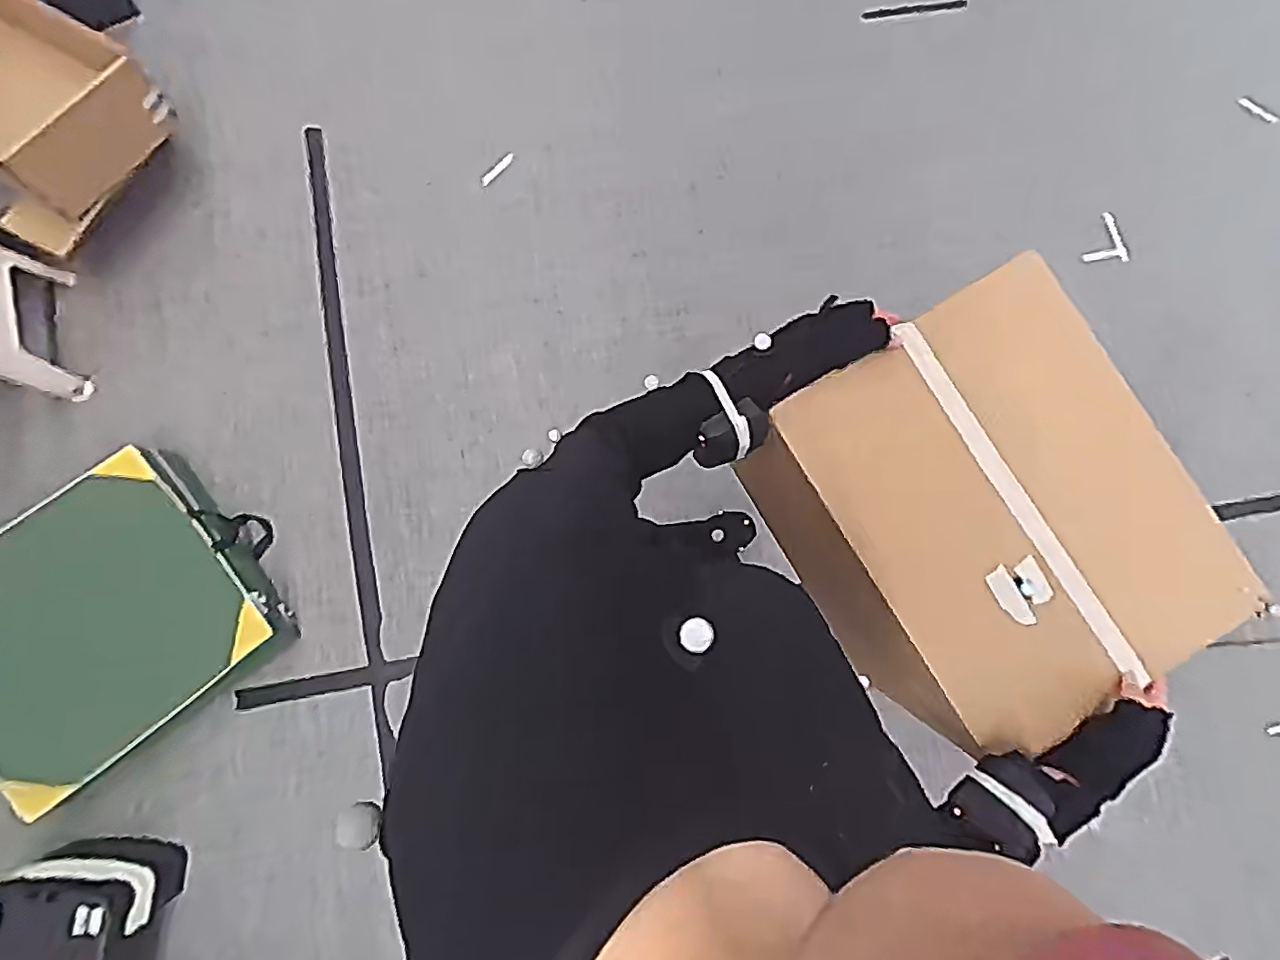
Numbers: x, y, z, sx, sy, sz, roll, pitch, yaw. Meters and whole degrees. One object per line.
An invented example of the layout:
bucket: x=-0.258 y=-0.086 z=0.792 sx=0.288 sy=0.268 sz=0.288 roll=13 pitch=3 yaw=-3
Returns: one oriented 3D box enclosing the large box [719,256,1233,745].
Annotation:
large box: x=0.353 y=0.021 z=0.684 sx=0.320 sy=0.320 sz=0.408 roll=-32 pitch=88 yaw=-2
